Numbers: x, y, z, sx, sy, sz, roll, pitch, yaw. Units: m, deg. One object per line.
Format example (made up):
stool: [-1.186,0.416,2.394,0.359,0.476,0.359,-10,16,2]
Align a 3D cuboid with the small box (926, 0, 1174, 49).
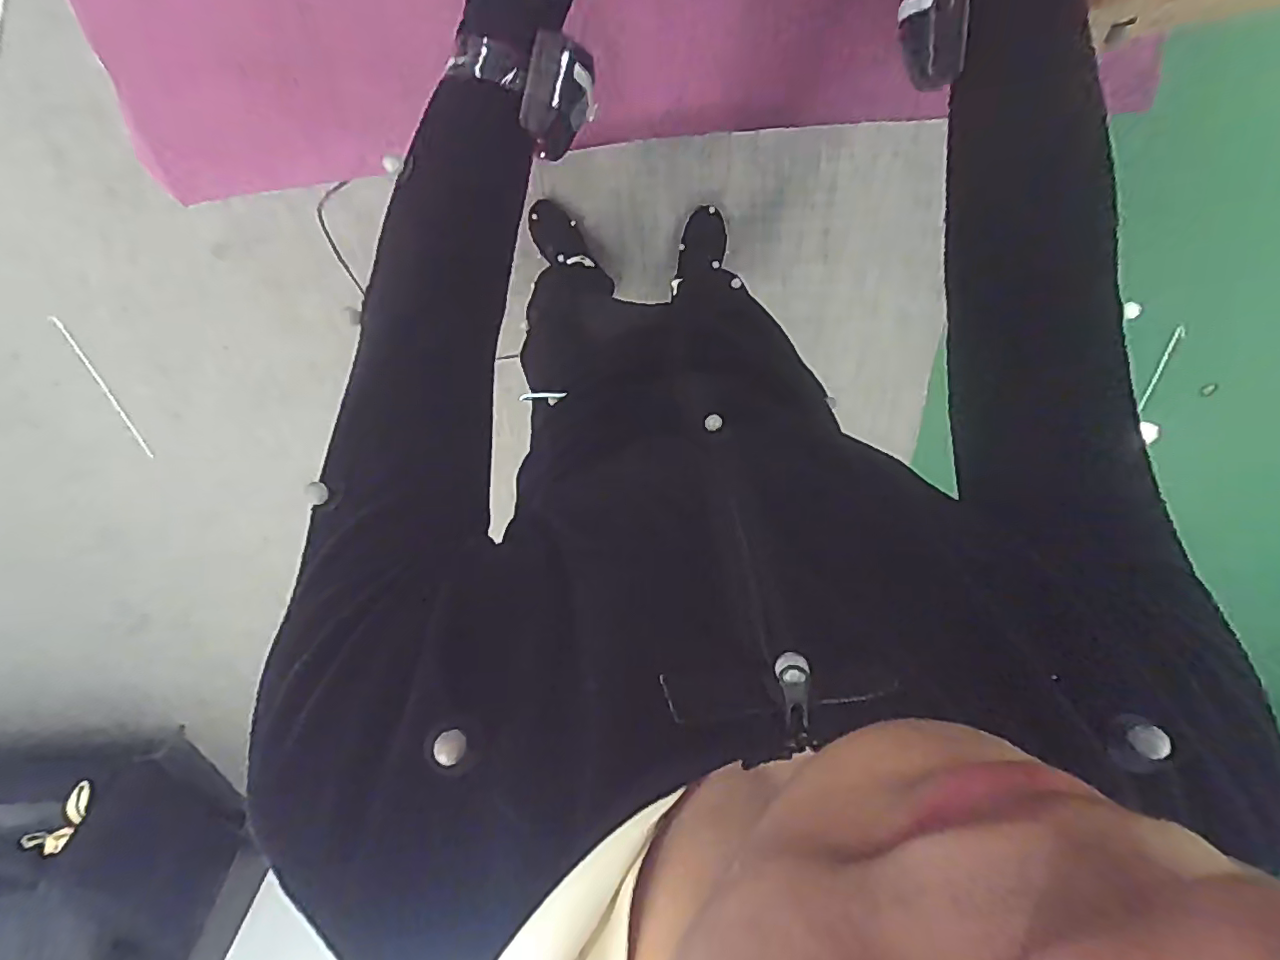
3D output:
small box: [0.404,-0.514,0.499,0.179,0.176,0.168,0,123,2]
